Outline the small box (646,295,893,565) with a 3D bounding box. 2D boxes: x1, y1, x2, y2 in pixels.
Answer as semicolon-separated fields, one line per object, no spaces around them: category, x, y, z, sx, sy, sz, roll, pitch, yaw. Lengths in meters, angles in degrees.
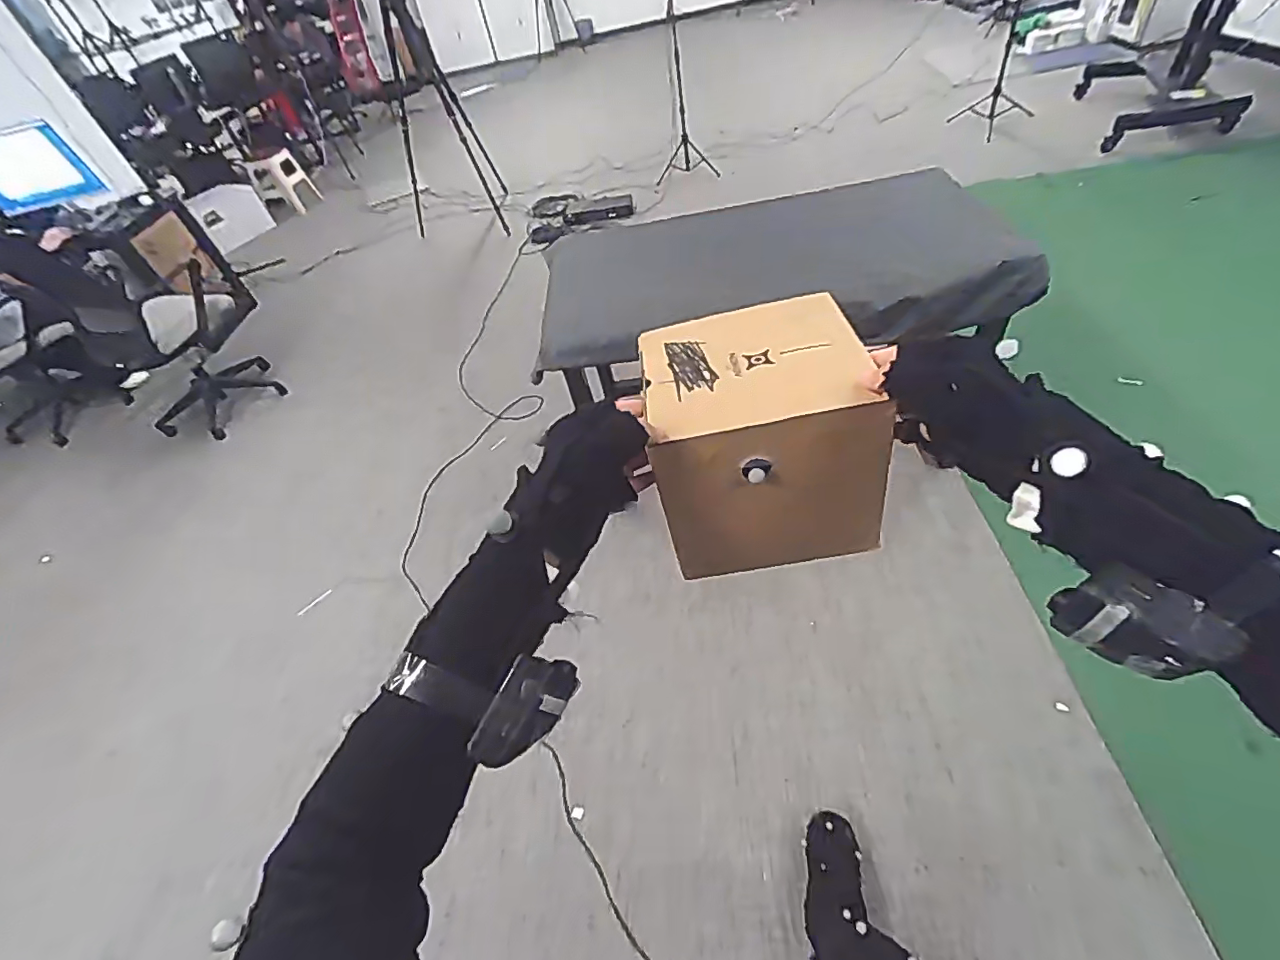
small box;0.109;-0.040;0.494;0.179;0.176;0.168;-10;43;7
